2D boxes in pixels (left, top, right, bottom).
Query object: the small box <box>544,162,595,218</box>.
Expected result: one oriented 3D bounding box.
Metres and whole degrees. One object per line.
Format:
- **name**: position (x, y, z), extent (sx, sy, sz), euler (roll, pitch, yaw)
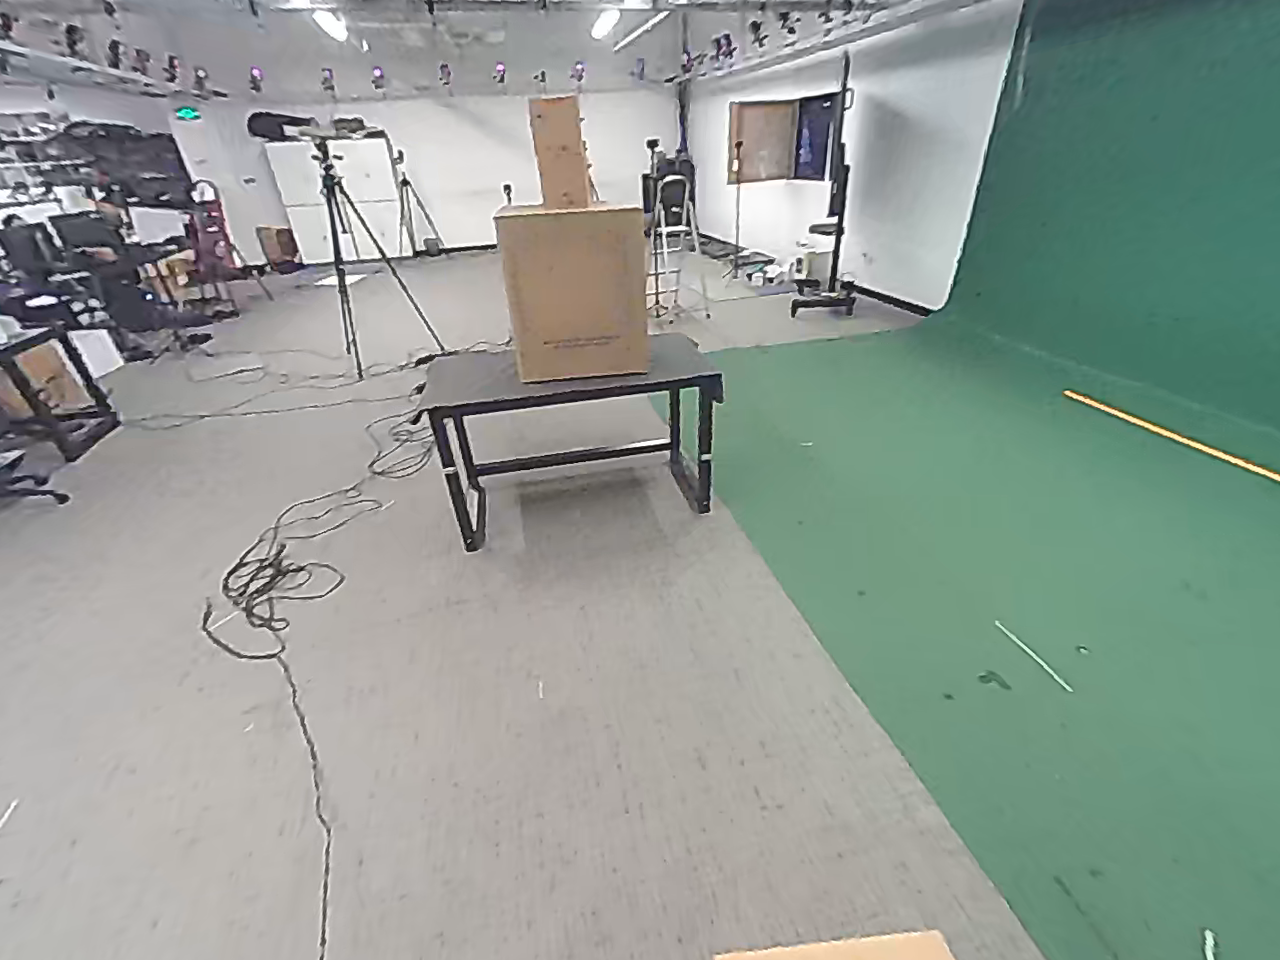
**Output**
- **small box**: position (-0.257, -1.074, 1.999), extent (0.168, 0.176, 0.179), euler (-2, 33, -1)
